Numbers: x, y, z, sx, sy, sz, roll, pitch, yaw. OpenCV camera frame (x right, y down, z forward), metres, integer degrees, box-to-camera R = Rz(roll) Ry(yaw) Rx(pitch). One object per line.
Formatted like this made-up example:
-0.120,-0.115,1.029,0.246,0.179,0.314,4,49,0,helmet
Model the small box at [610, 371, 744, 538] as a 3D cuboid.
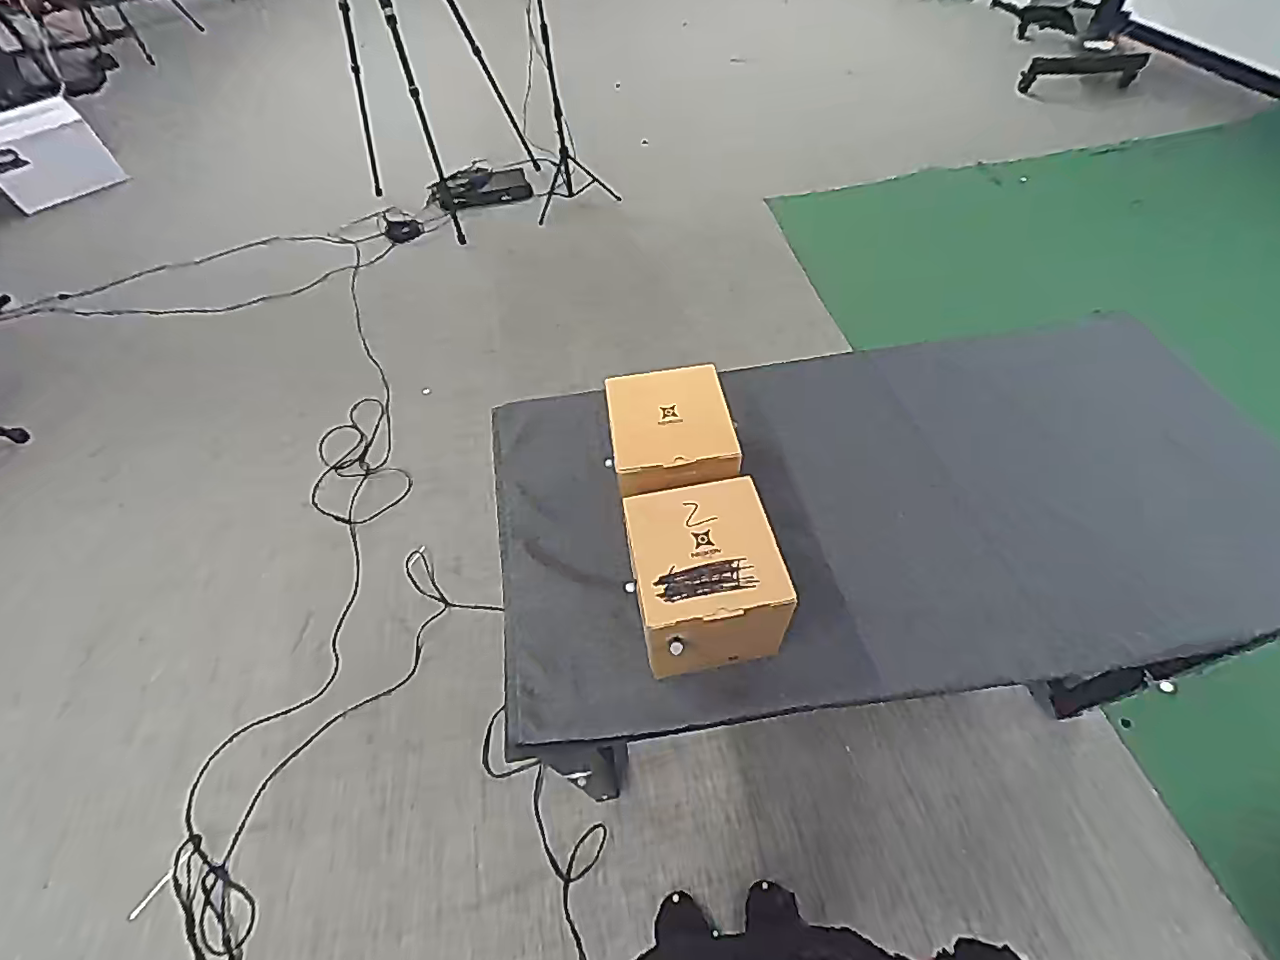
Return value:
0.049,-0.036,0.814,0.168,0.176,0.179,-9,55,-2,small box
